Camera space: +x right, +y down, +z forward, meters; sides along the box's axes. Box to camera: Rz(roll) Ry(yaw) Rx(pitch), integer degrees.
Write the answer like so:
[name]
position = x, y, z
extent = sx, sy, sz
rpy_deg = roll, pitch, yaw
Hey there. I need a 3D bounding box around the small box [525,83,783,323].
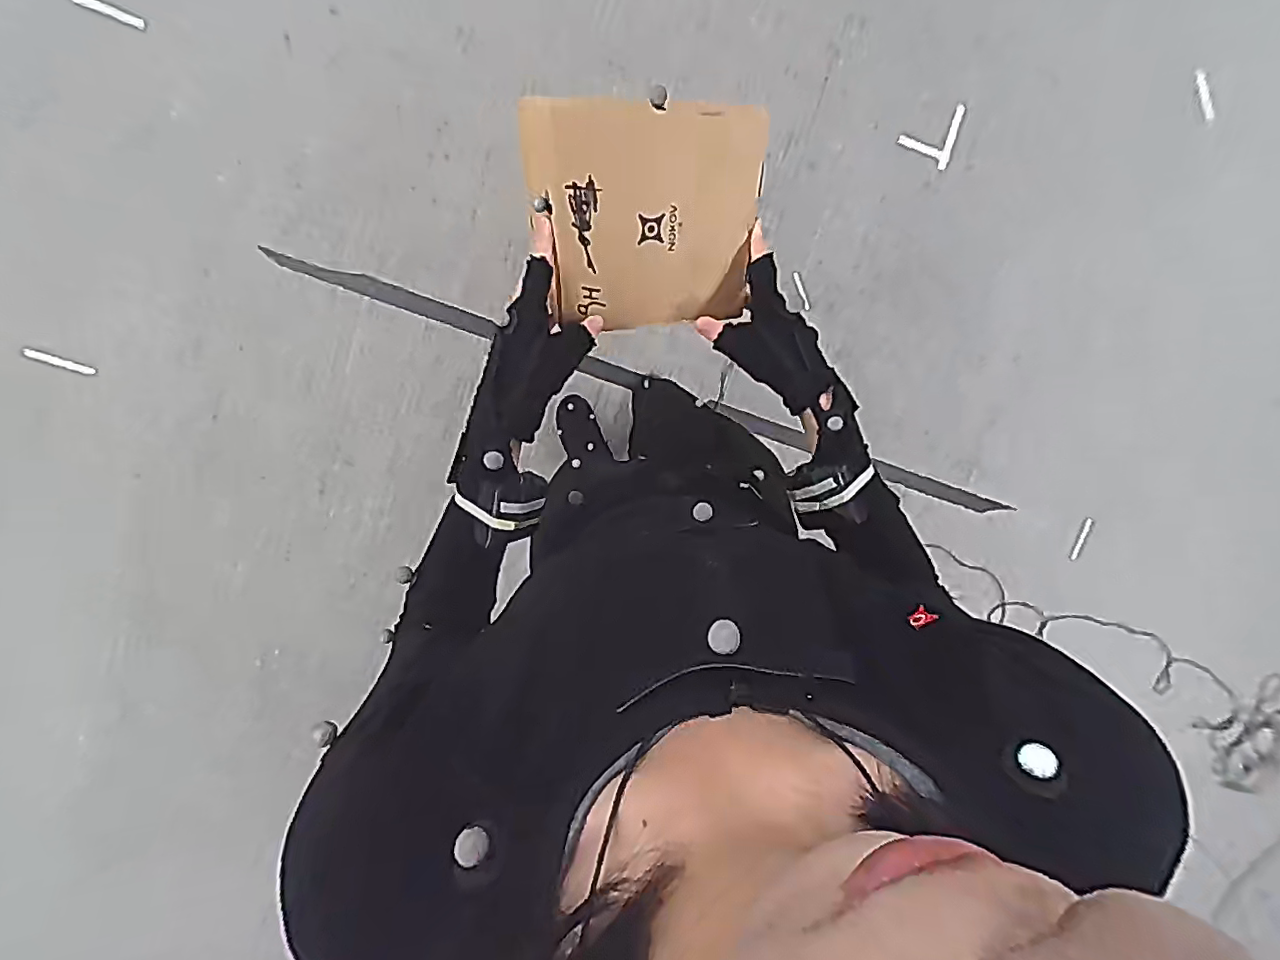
[small box]
position = 0.000, -0.258, 0.495
extent = 0.179, 0.176, 0.168
rpy_deg = -9, 128, -15
